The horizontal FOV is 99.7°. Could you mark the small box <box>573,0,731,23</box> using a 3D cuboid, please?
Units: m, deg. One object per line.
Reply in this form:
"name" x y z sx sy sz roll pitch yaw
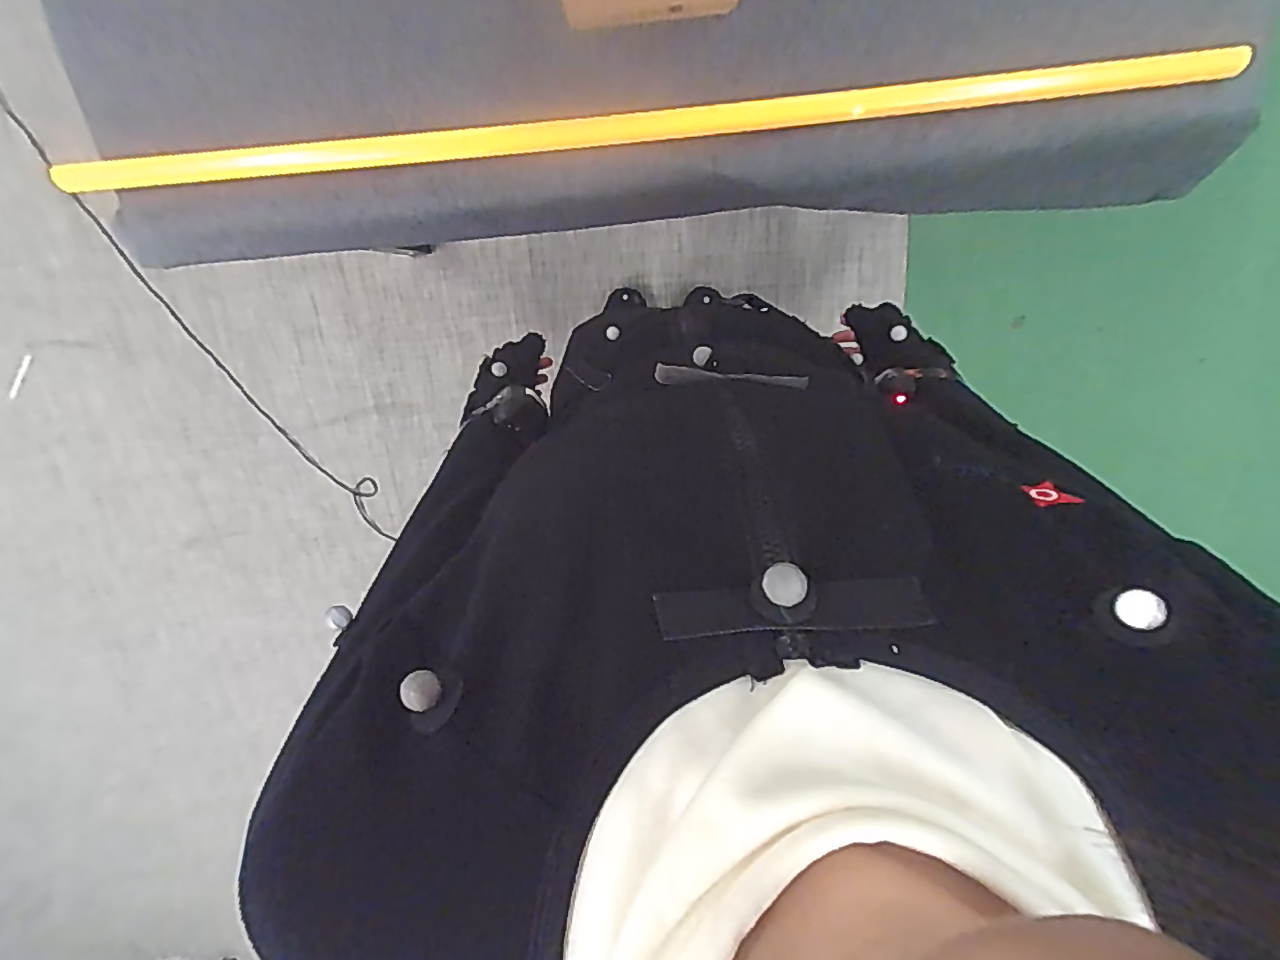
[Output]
"small box" 0.006 -0.518 0.434 0.168 0.176 0.179 -4 109 3
